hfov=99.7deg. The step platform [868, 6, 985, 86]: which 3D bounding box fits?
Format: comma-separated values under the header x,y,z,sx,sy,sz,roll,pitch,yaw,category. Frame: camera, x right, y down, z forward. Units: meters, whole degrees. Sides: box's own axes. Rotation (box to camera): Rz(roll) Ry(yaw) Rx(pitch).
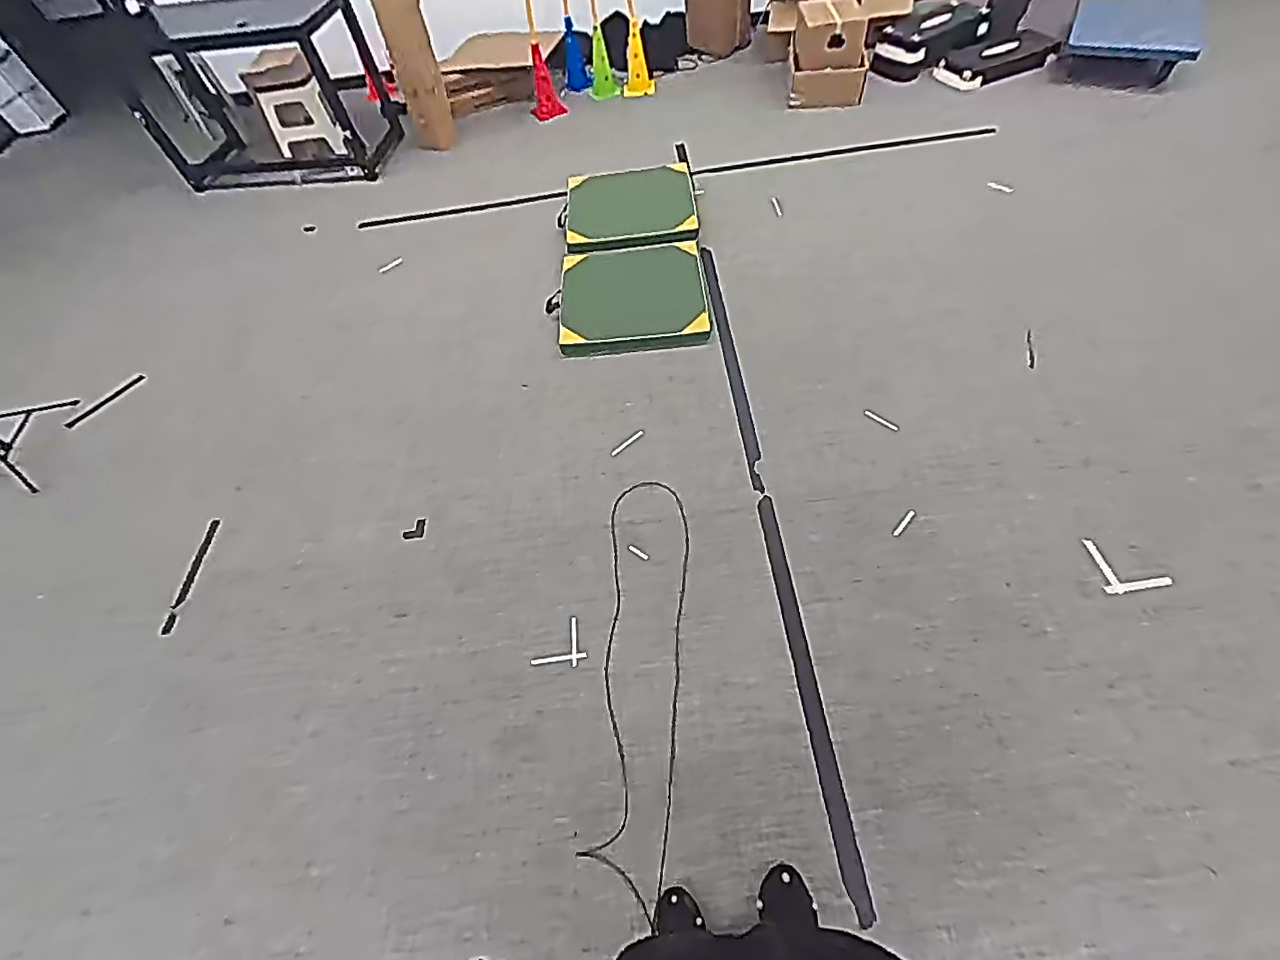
x,y,z,sx,sy,sz,roll,pitch,yaw,category
1.716,-2.610,3.241,0.684,0.204,0.286,-31,58,-13,step platform
